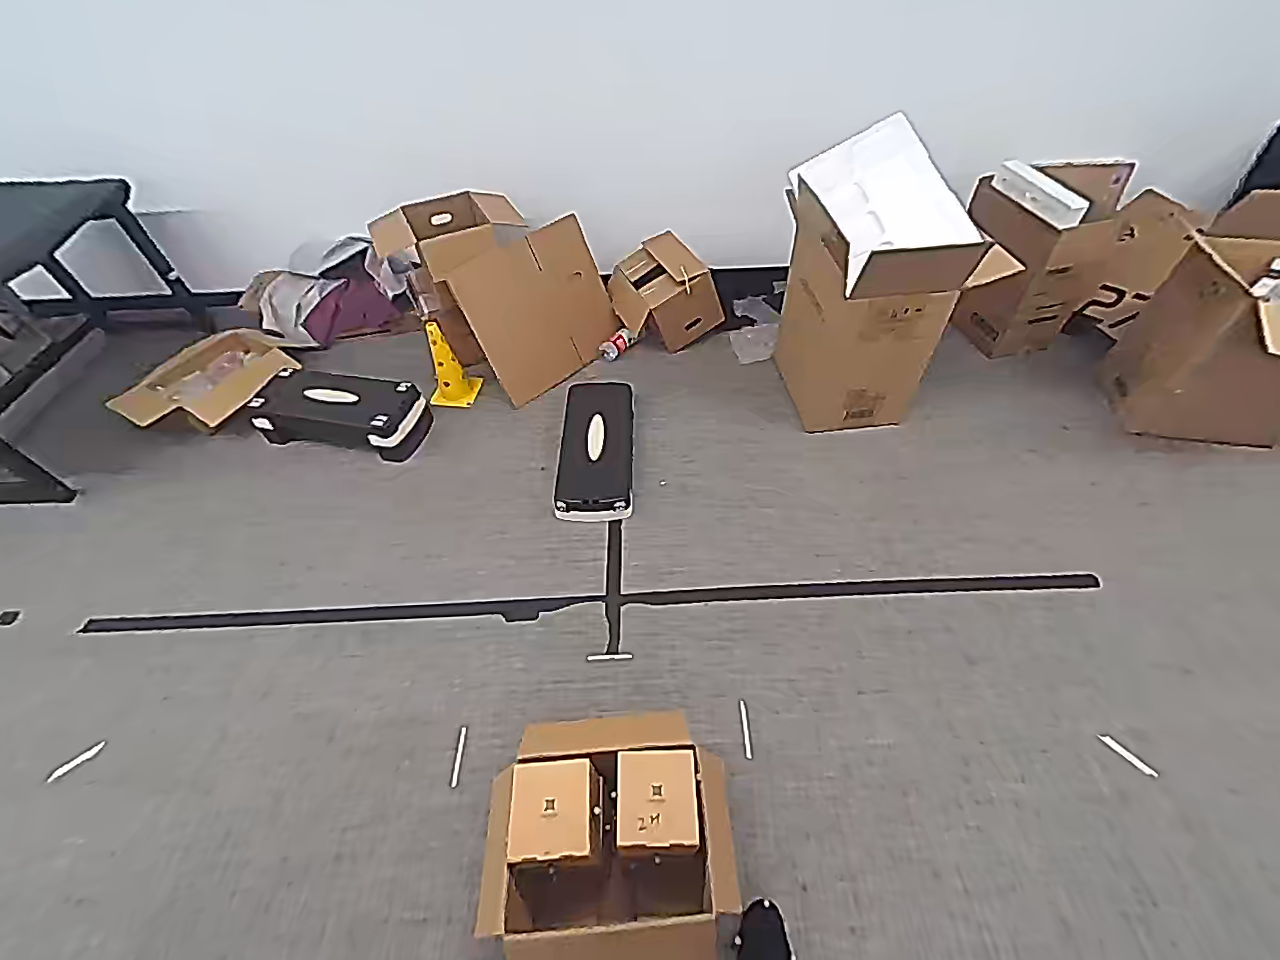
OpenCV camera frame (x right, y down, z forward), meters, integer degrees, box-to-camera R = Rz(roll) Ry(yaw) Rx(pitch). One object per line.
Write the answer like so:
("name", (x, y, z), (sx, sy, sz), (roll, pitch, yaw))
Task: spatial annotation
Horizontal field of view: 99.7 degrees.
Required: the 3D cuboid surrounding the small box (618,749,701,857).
("small box", (0.041, 0.698, 1.167), (0.168, 0.176, 0.179), (-1, 50, 2))
